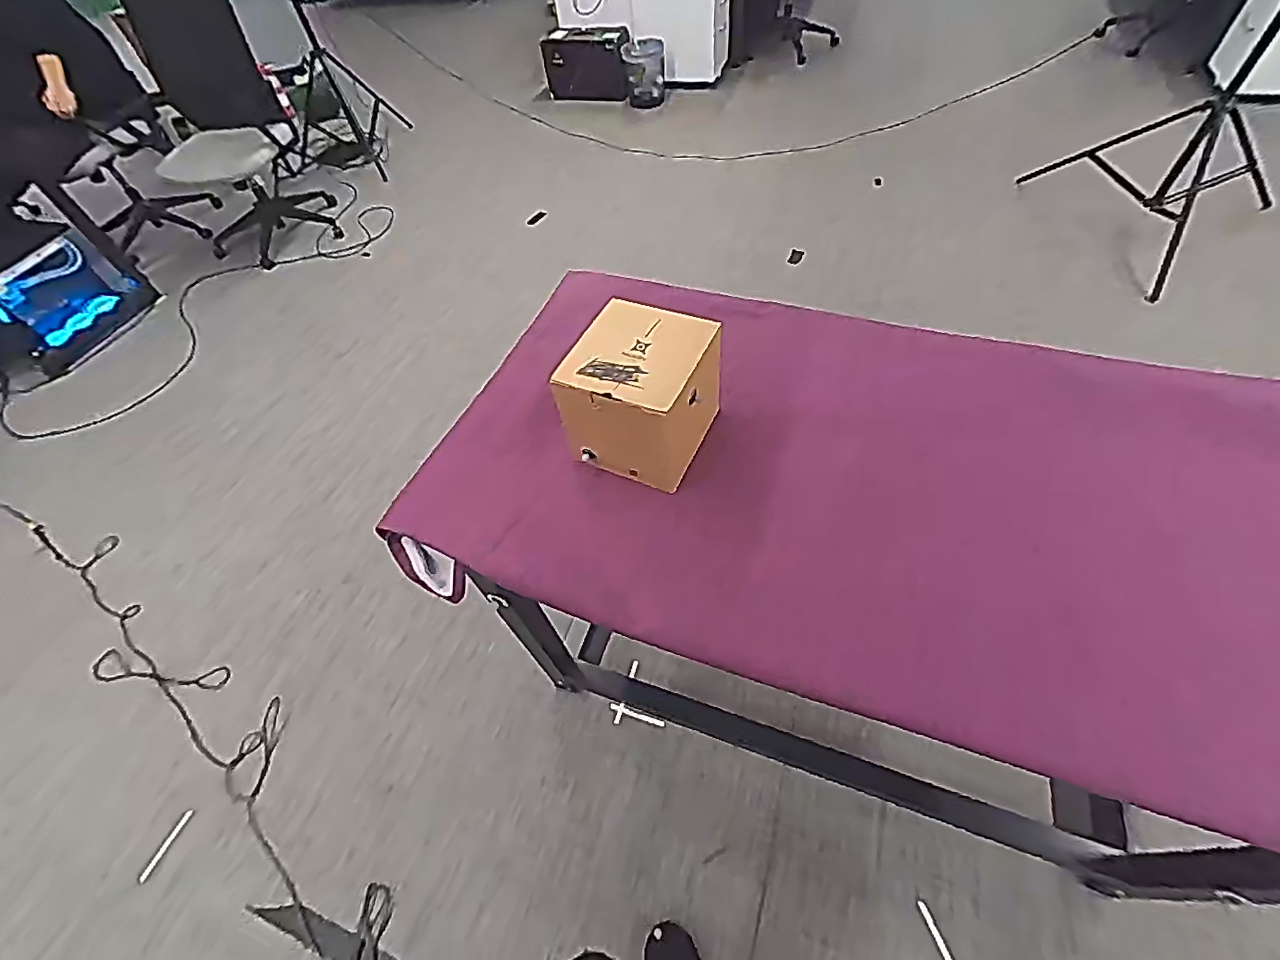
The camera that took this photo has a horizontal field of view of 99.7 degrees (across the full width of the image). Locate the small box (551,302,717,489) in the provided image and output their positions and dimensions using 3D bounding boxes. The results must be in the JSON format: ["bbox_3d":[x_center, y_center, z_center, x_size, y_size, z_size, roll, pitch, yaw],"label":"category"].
[{"bbox_3d":[0.003,-0.115,0.761,0.168,0.176,0.179,19,58,19],"label":"small box"}]
